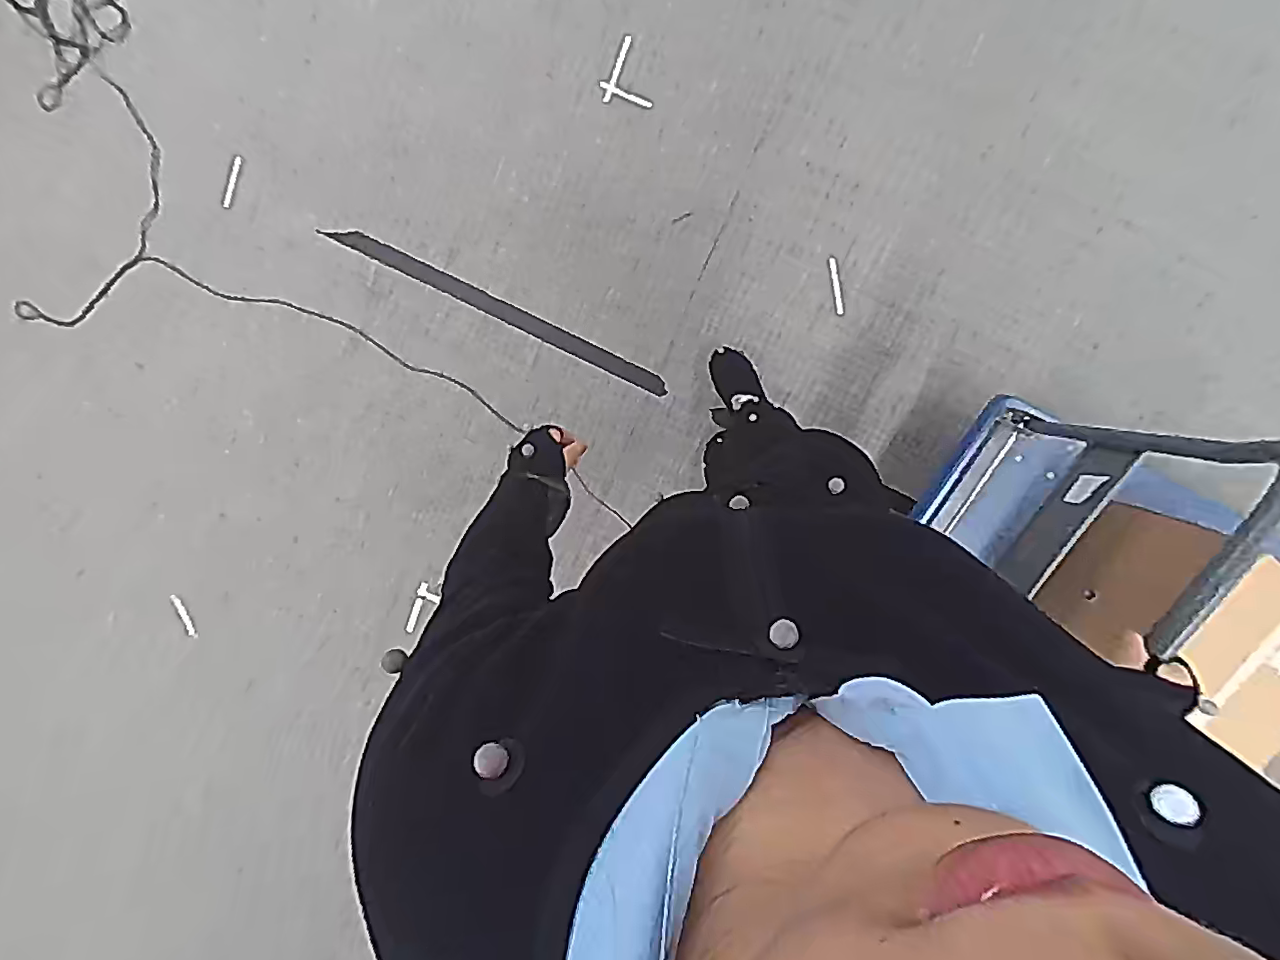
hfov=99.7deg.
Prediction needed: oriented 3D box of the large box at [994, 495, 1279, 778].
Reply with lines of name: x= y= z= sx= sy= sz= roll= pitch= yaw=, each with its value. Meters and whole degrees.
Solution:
large box: x=1.056 y=0.296 z=1.124 sx=0.320 sy=0.320 sz=0.408 roll=29 pitch=101 yaw=0
